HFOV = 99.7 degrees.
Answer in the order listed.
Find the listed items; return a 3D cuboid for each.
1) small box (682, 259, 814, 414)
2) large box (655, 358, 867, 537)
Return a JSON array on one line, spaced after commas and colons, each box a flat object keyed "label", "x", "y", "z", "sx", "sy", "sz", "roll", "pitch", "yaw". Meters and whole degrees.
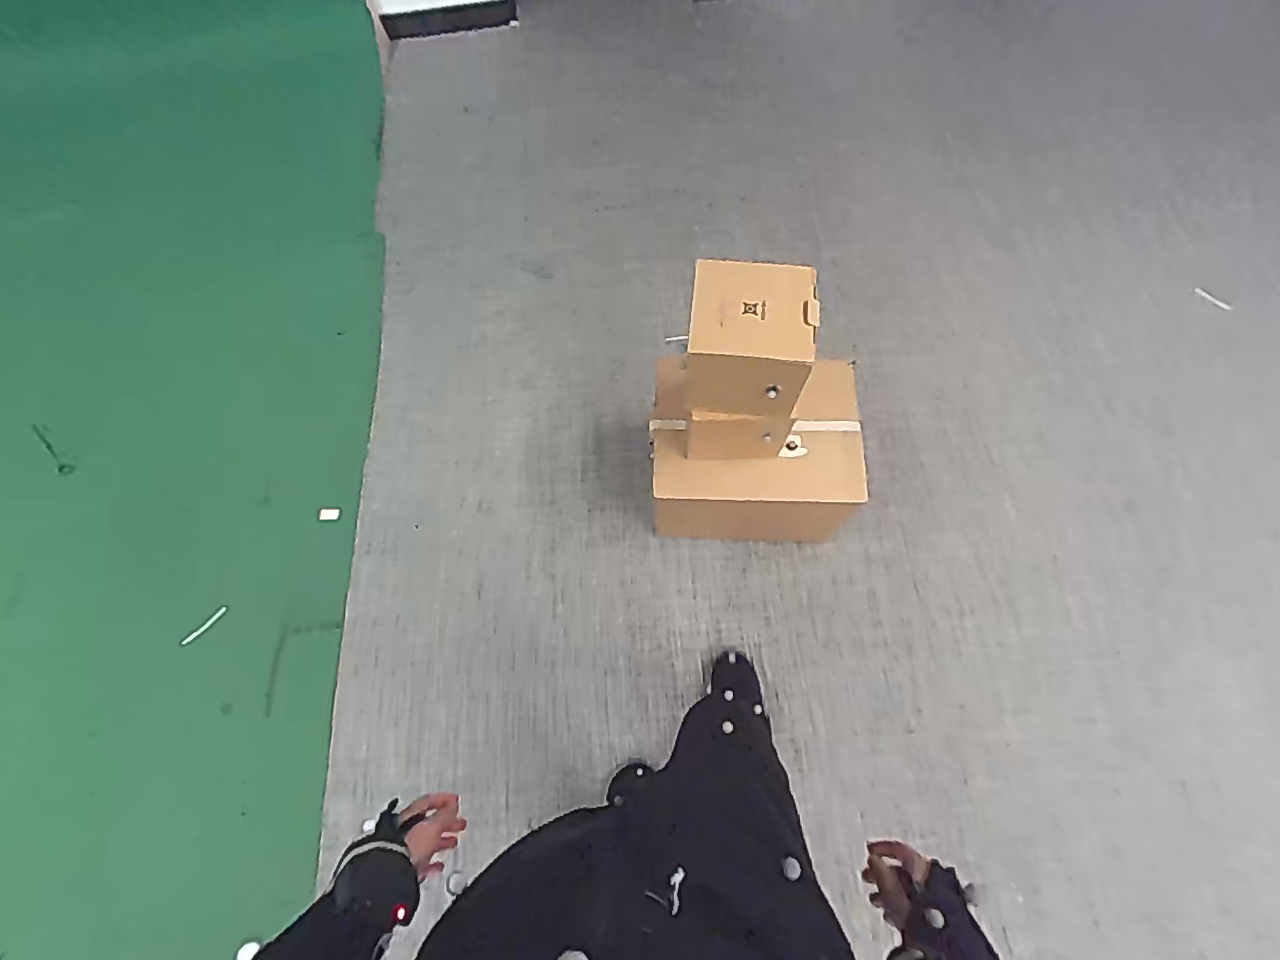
[{"label": "small box", "x": 0.160, "y": -0.213, "z": 0.835, "sx": 0.179, "sy": 0.176, "sz": 0.168, "roll": 5, "pitch": 69, "yaw": 6}, {"label": "large box", "x": 0.236, "y": -0.058, "z": 1.208, "sx": 0.408, "sy": 0.320, "sz": 0.320, "roll": 1, "pitch": 71, "yaw": 3}]
